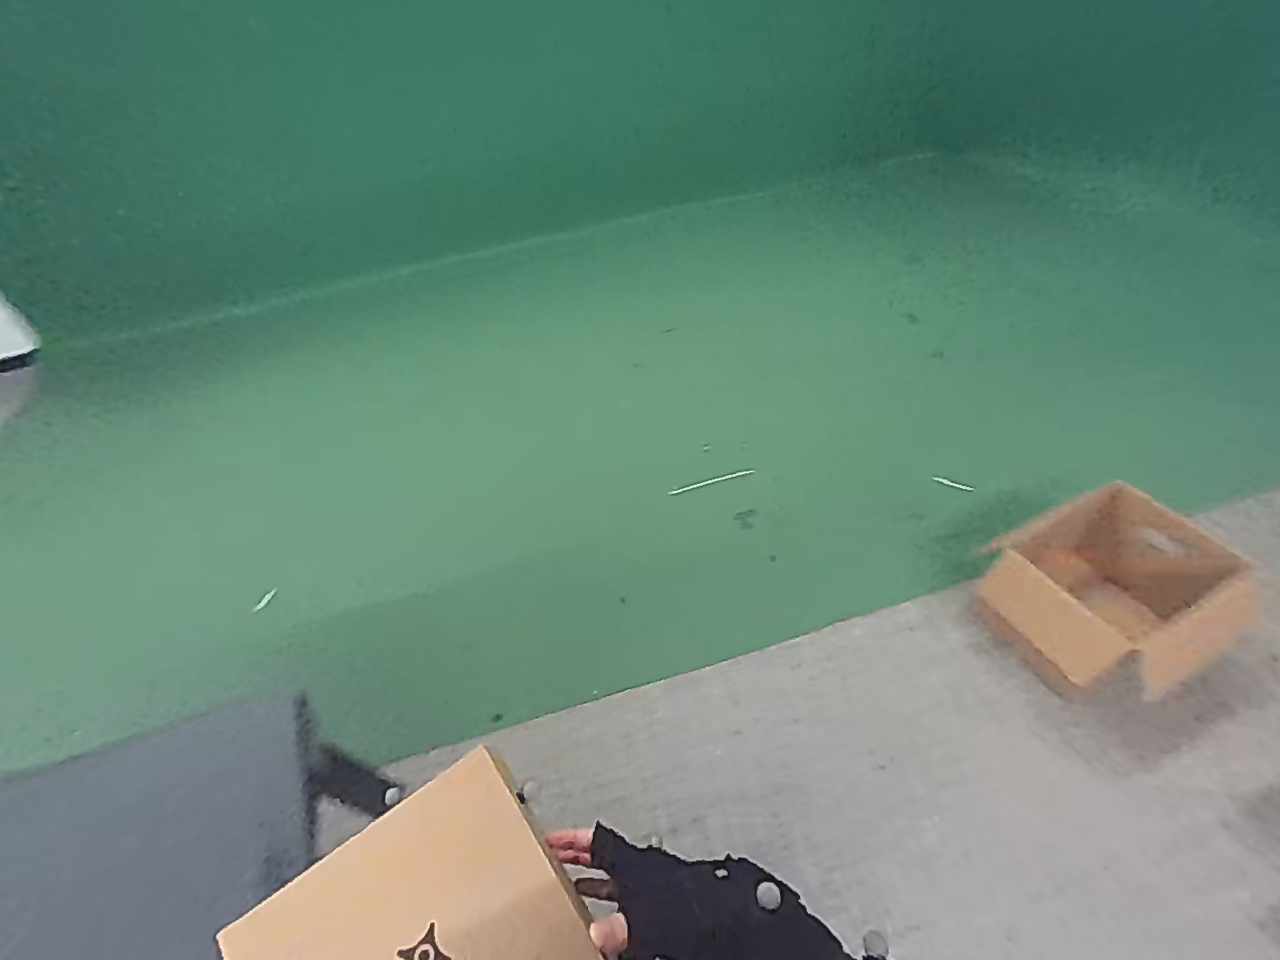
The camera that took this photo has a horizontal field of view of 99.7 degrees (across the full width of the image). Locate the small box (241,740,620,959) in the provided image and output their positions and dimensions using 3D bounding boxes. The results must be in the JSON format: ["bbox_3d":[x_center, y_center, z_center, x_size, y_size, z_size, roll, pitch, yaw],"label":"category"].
[{"bbox_3d":[-0.130,0.314,0.383,0.168,0.176,0.179,-29,73,-22],"label":"small box"}]
